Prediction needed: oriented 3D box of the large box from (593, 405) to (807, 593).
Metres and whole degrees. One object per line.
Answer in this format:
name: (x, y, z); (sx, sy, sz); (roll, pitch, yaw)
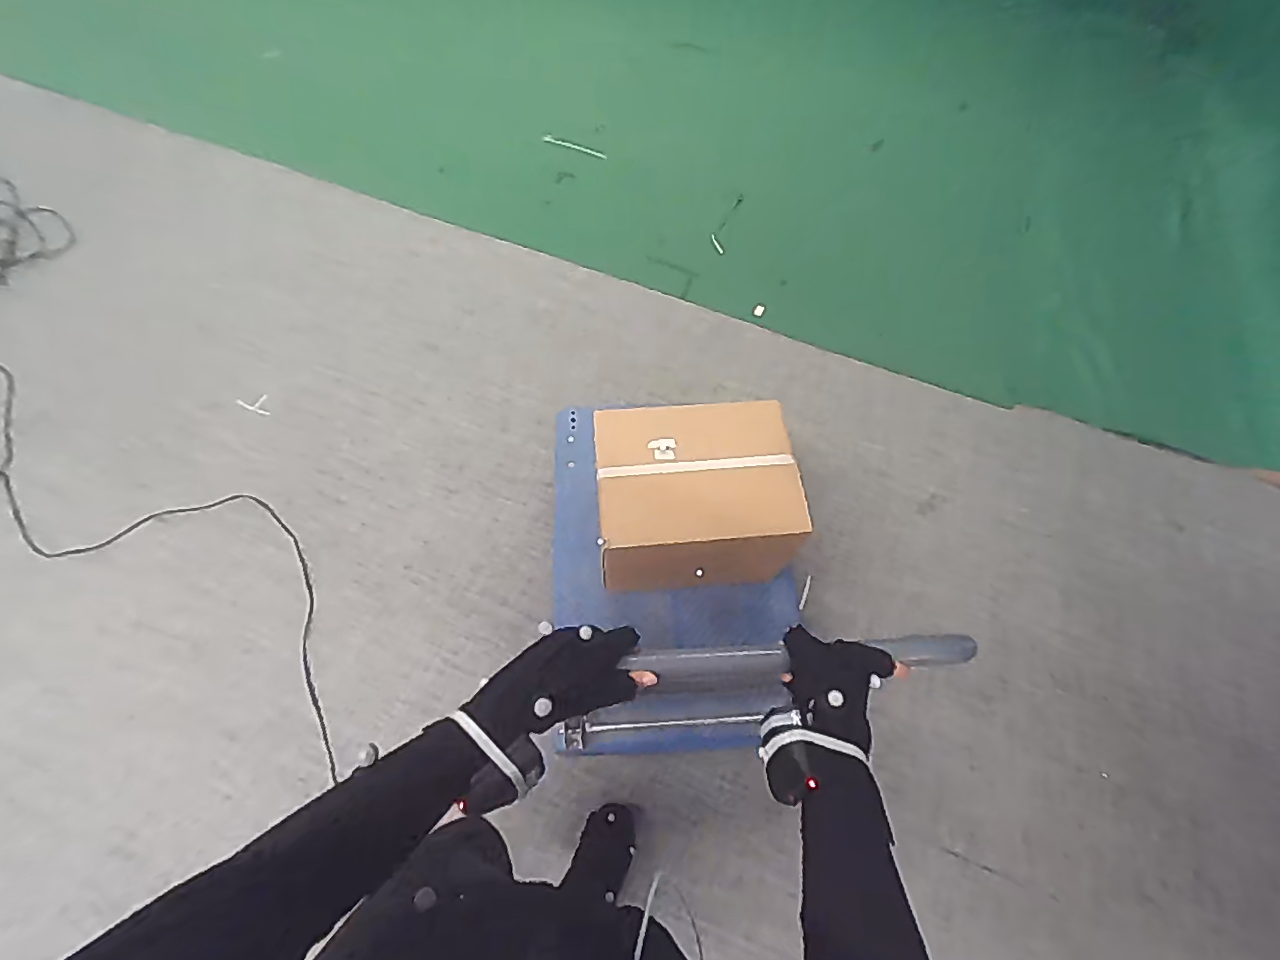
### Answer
large box: (0.109, 0.055, 1.229); (0.408, 0.320, 0.320); (-4, 63, -5)
